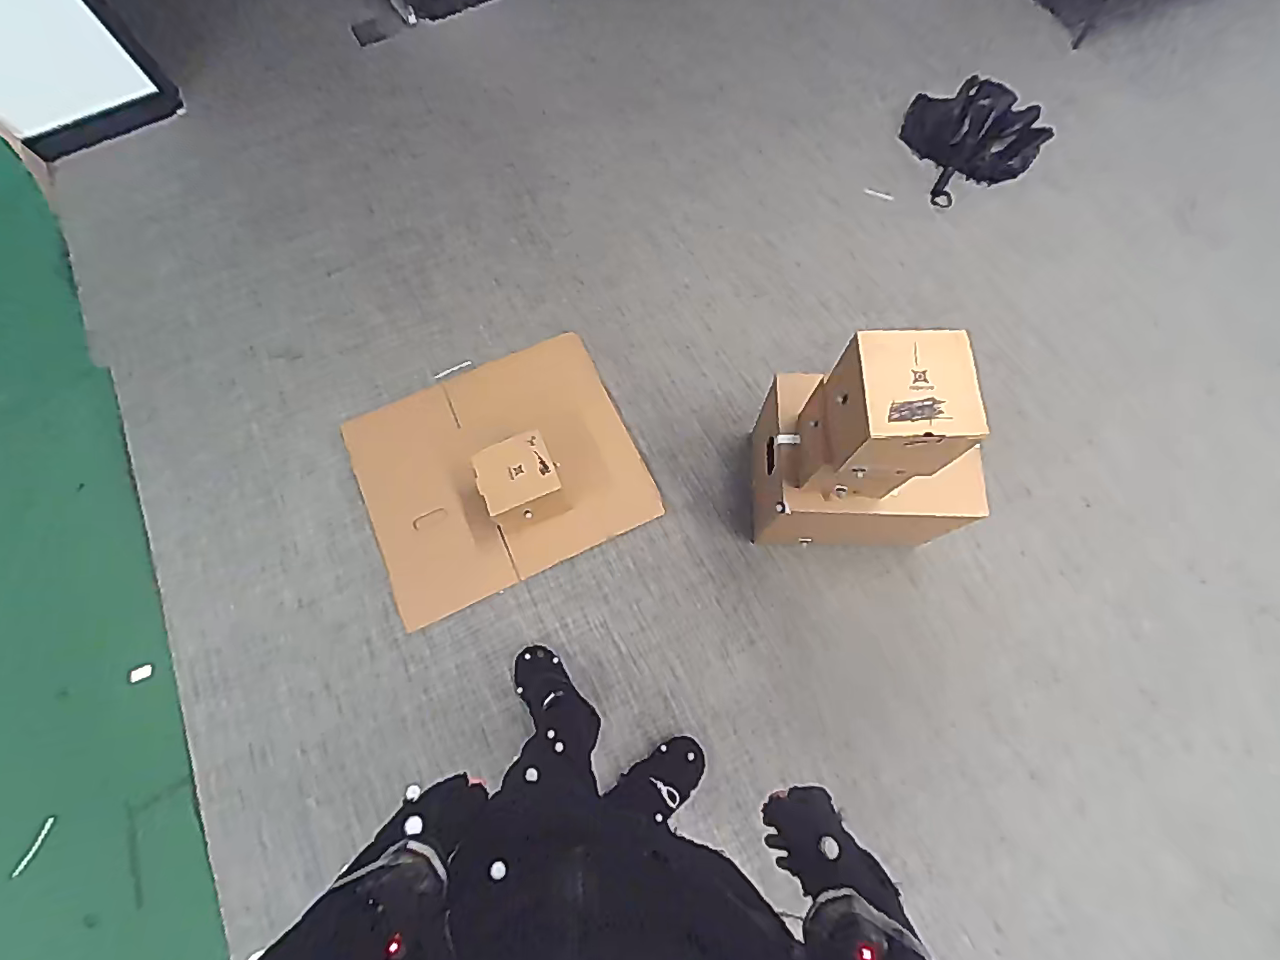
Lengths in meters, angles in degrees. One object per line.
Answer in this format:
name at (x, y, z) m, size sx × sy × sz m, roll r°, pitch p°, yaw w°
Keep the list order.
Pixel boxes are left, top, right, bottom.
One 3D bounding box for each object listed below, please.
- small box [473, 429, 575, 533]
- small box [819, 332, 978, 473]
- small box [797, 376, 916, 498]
small box at (-0.278, 0.010, 1.327) m, size 0.179 × 0.176 × 0.168 m, roll -26°, pitch 70°, yaw -5°
small box at (0.398, -0.113, 0.866) m, size 0.168 × 0.176 × 0.179 m, roll -3°, pitch 73°, yaw 1°
small box at (0.400, -0.076, 1.027) m, size 0.168 × 0.176 × 0.179 m, roll 4°, pitch 73°, yaw 4°
